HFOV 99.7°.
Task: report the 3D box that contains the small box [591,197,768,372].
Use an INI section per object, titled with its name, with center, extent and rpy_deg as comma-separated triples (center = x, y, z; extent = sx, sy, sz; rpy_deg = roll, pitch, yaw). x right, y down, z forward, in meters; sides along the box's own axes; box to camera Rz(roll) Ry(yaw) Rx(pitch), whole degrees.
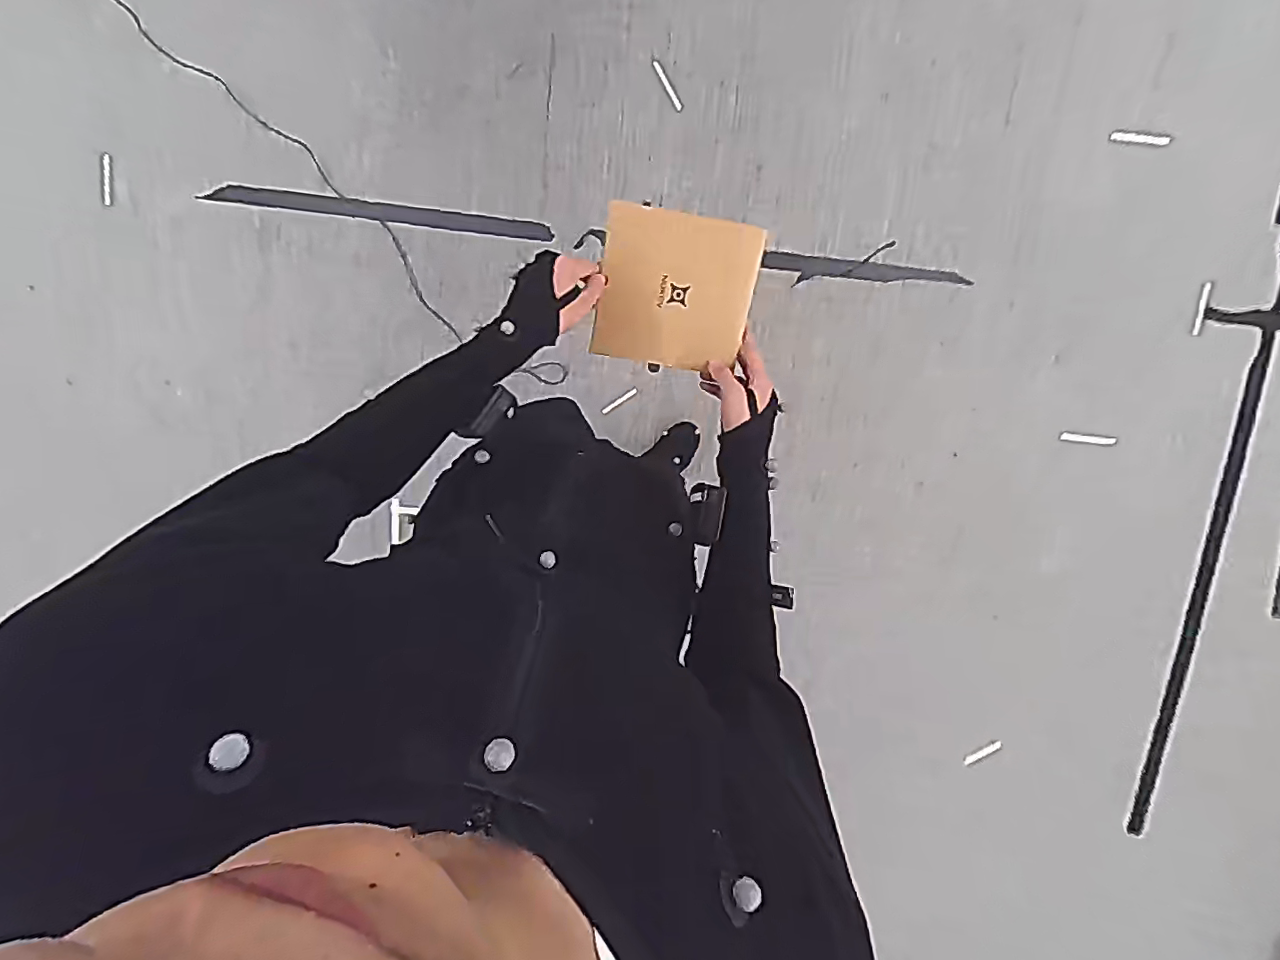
[small box]
center = 0.043, -0.247, 0.677
extent = 0.179, 0.176, 0.168
rpy_deg = 9, 115, -1
